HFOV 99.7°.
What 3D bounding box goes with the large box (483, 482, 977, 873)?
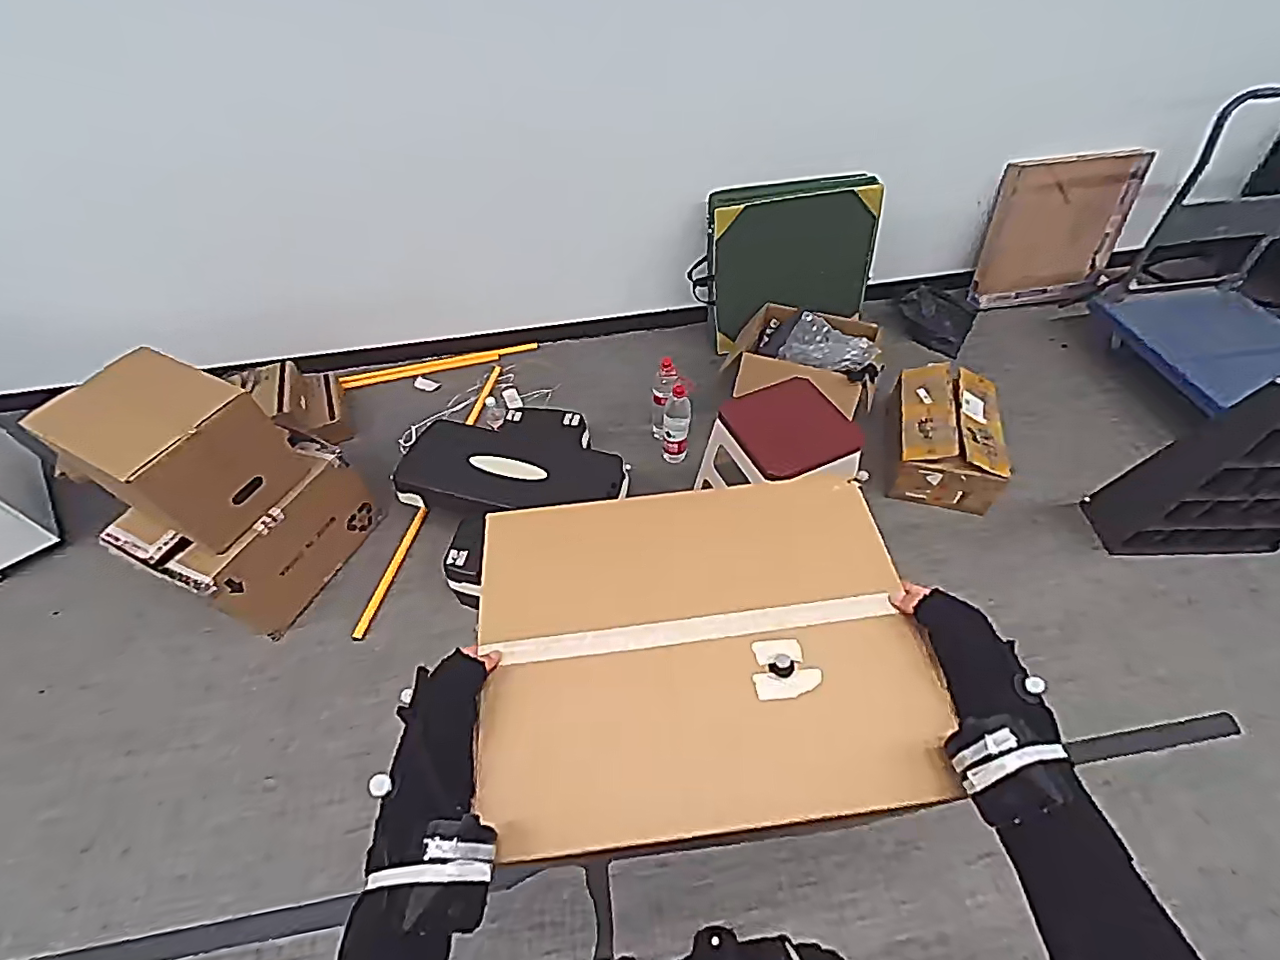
[{"bbox_3d":[0.059,0.234,0.626,0.408,0.320,0.320,-6,54,-3],"label":"large box"}]
